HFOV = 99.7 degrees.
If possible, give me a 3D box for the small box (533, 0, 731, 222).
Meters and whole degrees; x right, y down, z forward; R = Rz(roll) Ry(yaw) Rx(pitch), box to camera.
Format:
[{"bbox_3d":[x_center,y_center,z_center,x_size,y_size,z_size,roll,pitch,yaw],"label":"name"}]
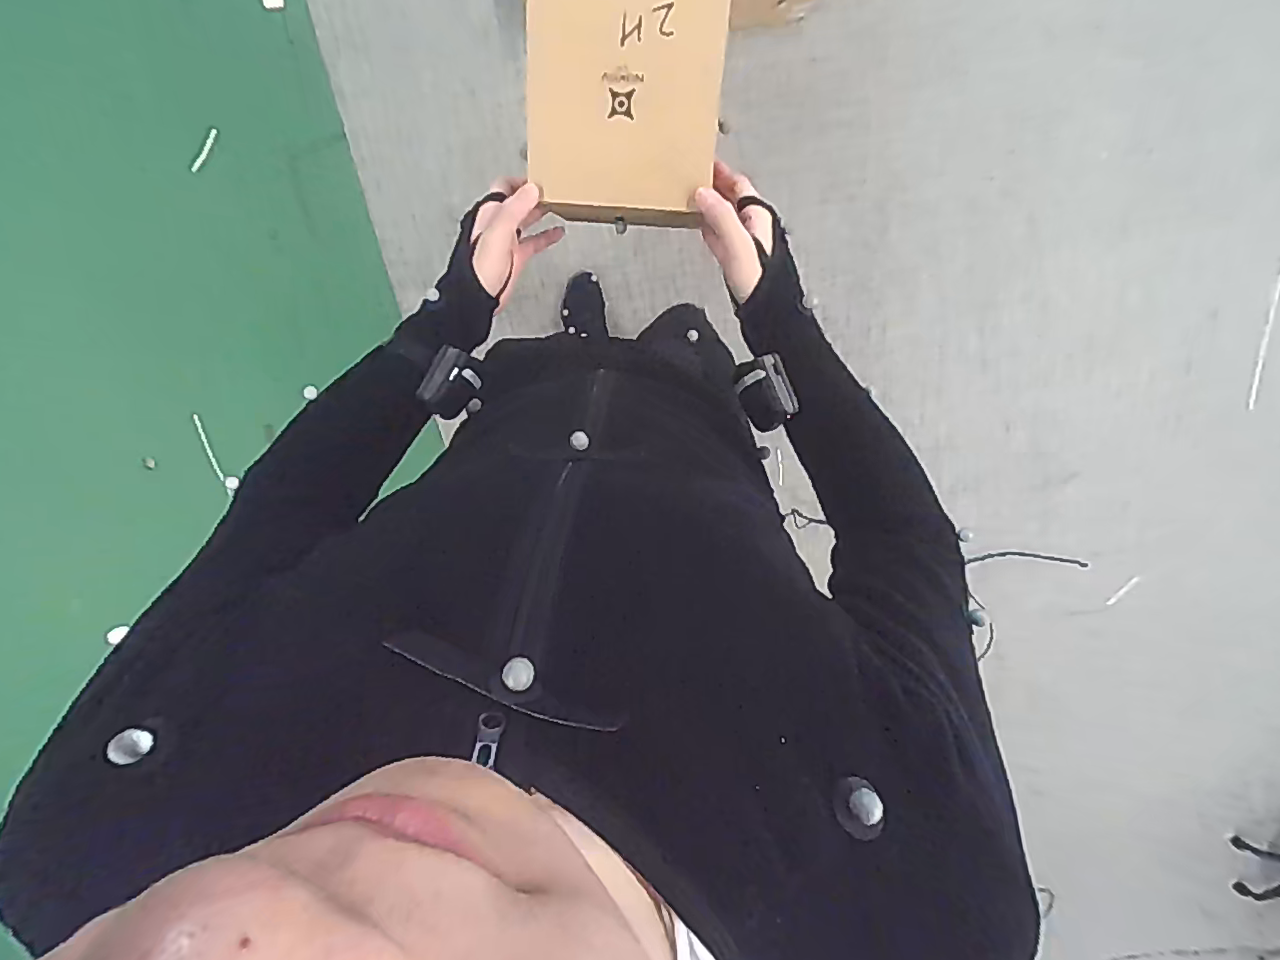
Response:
[{"bbox_3d":[-0.004,-0.362,0.539,0.168,0.176,0.179,5,111,3],"label":"small box"}]
